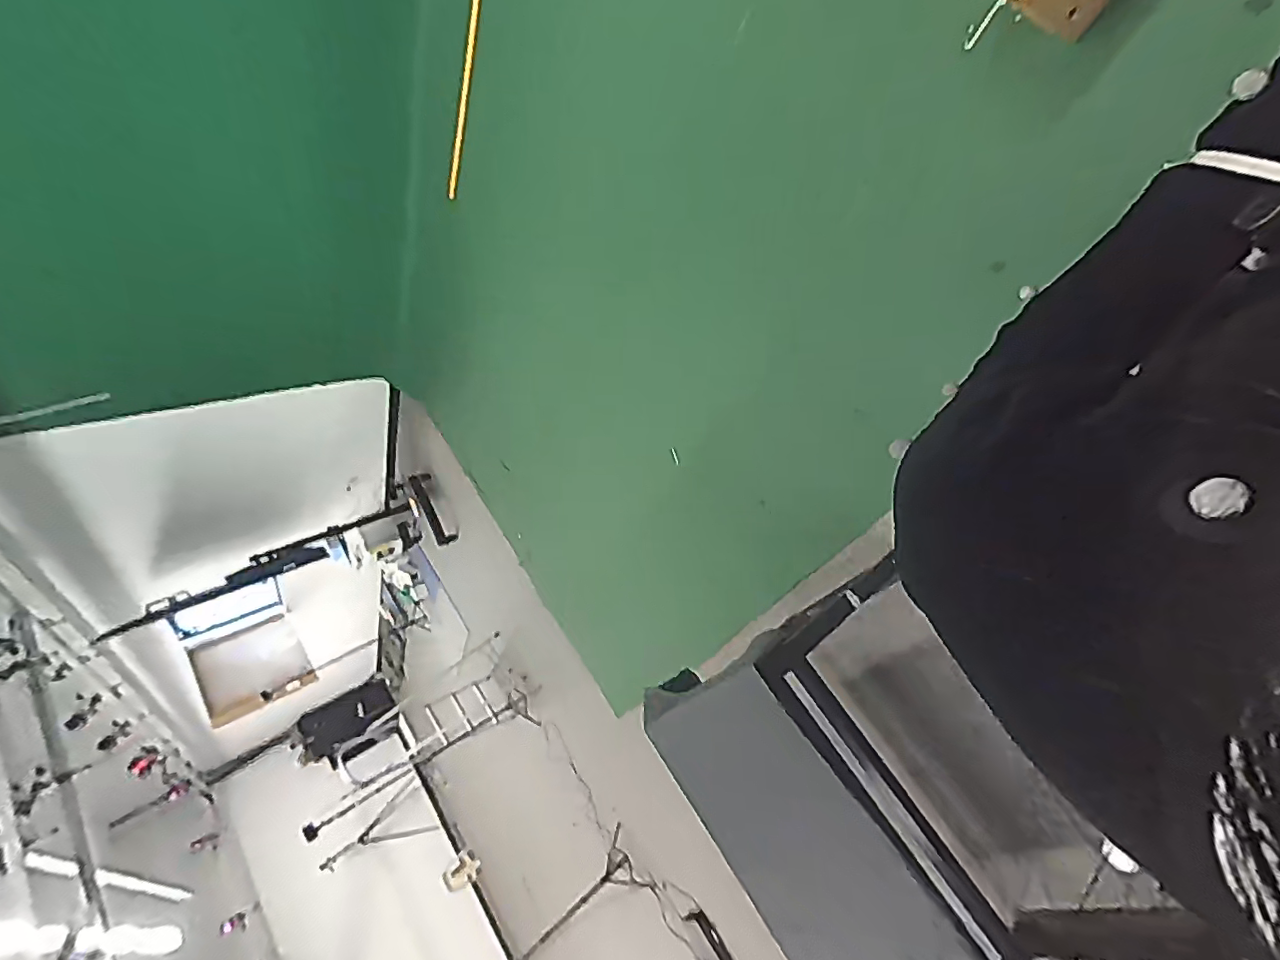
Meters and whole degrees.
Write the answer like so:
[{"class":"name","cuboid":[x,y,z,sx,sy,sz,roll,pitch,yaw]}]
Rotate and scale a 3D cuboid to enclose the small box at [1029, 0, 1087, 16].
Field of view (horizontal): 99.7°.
[{"class":"small box","cuboid":[0.673,-0.891,0.867,0.179,0.176,0.168,53,140,20]}]
